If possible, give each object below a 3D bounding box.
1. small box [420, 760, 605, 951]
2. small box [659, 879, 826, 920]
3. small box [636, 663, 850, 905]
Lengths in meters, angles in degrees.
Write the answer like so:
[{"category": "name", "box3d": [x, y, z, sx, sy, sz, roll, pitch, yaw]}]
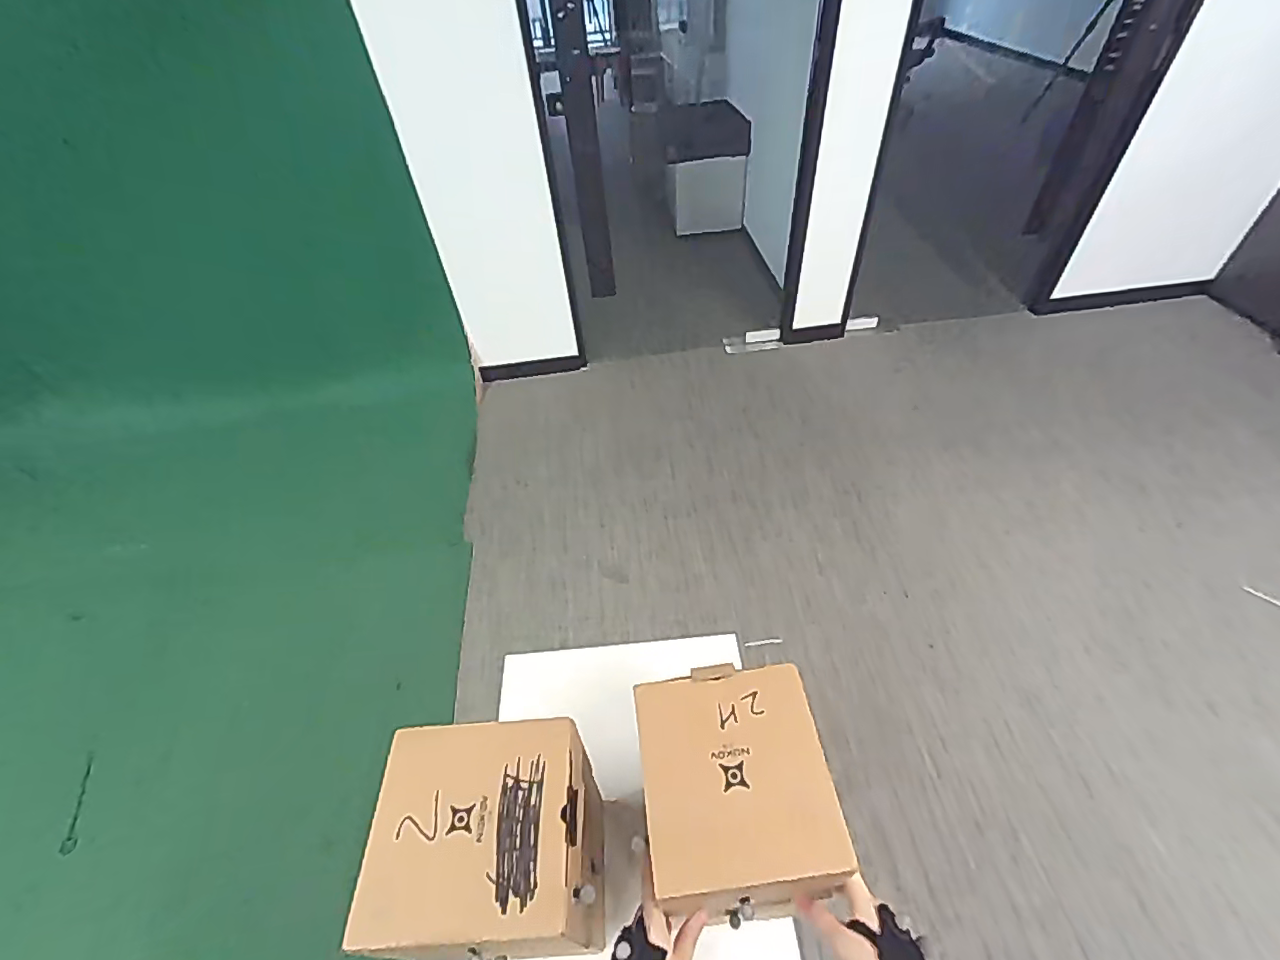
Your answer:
[{"category": "small box", "box3d": [-0.138, 0.458, 0.659, 0.179, 0.176, 0.168, -3, 47, -1]}, {"category": "small box", "box3d": [0.108, 0.426, 0.667, 0.179, 0.176, 0.168, -6, 47, 0]}, {"category": "small box", "box3d": [0.090, 0.312, 0.549, 0.168, 0.176, 0.179, -7, 47, -1]}]
